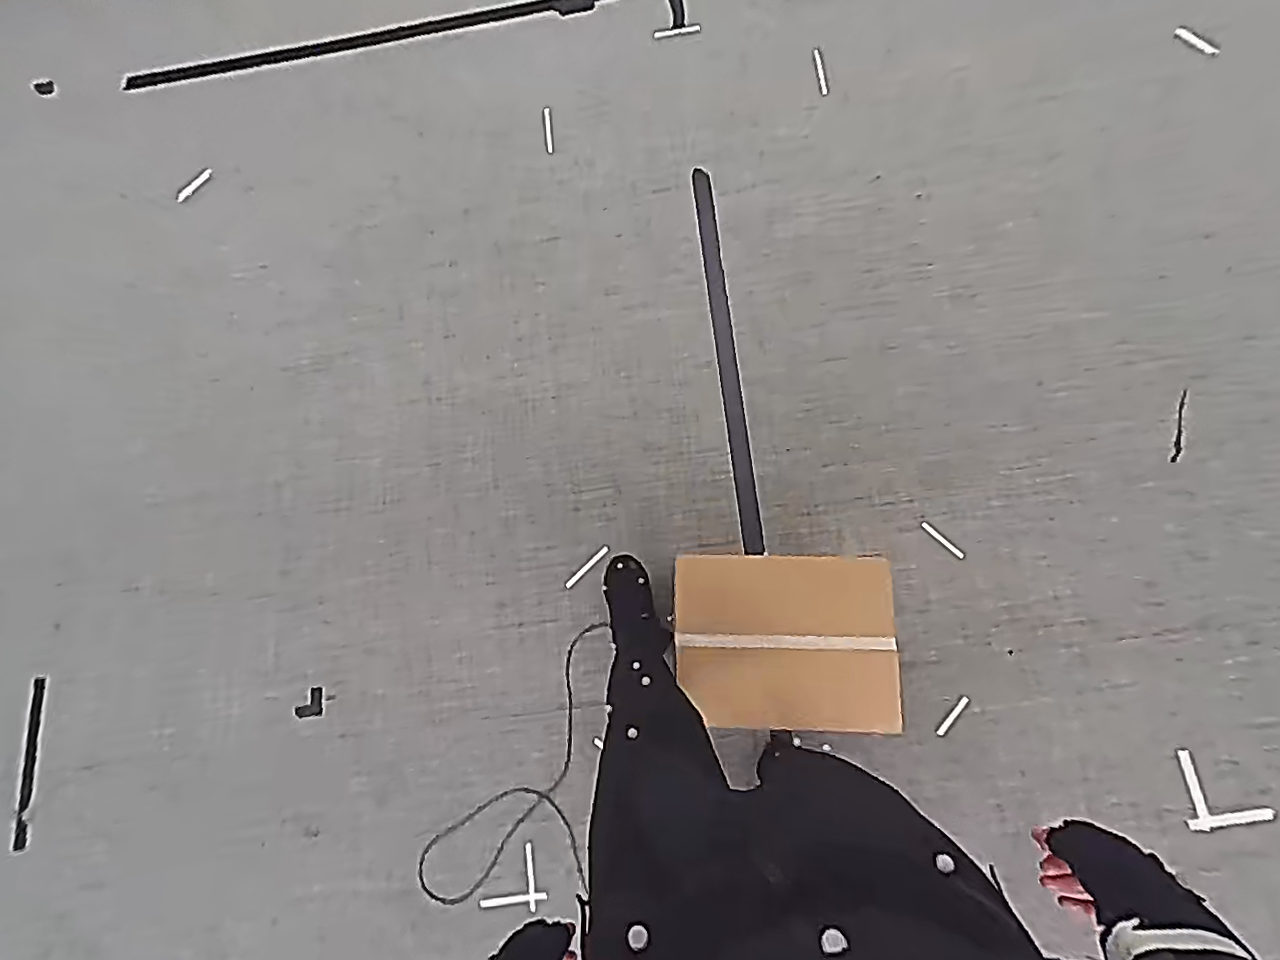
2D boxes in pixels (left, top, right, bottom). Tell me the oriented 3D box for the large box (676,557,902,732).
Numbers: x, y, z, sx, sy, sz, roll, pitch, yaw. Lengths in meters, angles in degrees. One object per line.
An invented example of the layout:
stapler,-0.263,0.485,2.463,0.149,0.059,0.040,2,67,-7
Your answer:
large box,0.281,0.327,1.148,0.408,0.320,0.320,0,79,3
